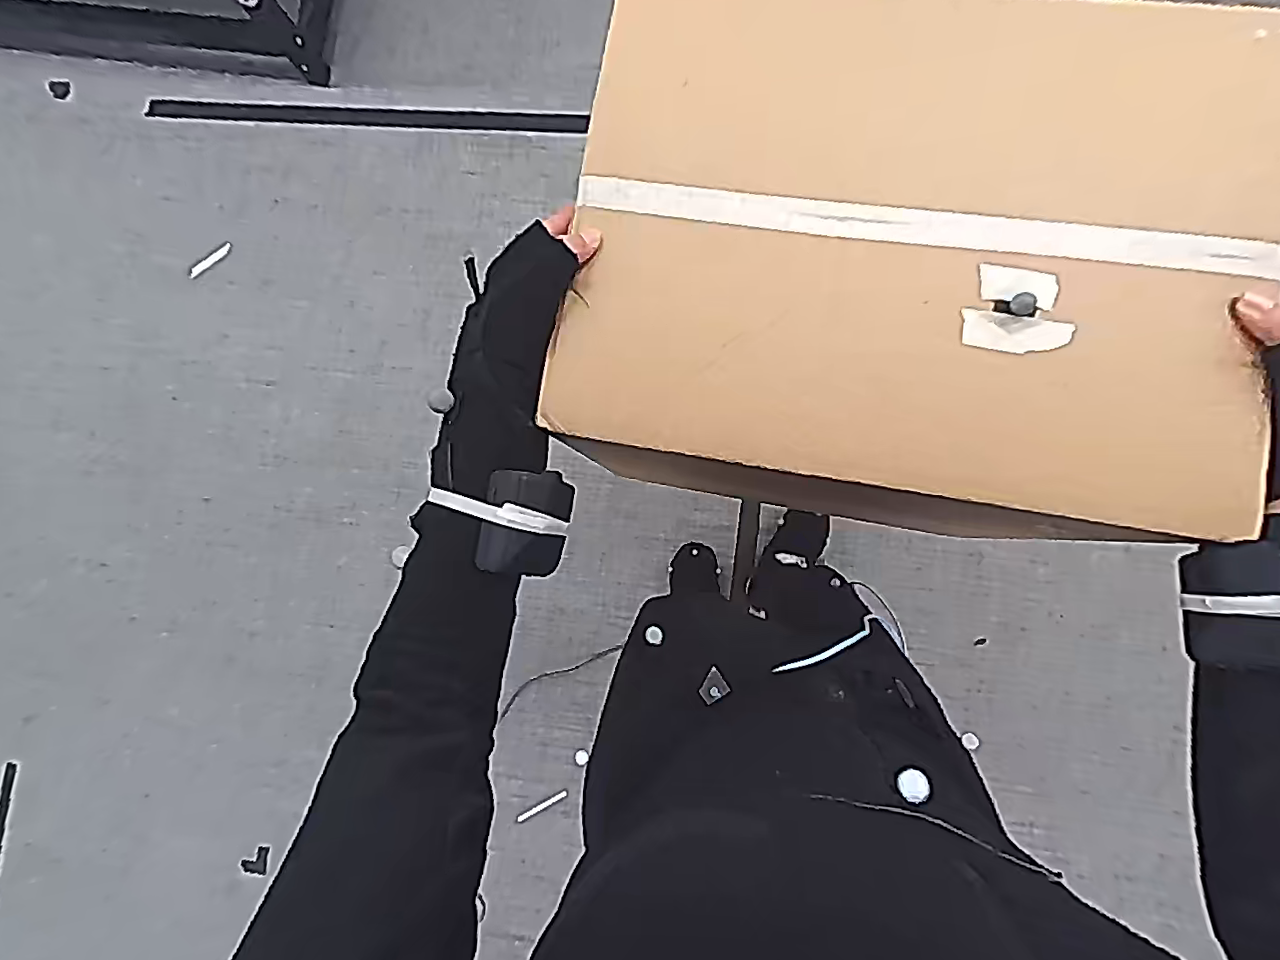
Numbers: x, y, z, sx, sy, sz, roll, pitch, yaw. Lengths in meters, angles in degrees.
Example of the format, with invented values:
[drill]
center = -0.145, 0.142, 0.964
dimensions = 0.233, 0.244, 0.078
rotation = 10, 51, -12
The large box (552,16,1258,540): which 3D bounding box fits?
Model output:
[large box]
center = 0.172, -0.130, 0.488
dimensions = 0.408, 0.320, 0.320
rotation = 9, 87, 7
